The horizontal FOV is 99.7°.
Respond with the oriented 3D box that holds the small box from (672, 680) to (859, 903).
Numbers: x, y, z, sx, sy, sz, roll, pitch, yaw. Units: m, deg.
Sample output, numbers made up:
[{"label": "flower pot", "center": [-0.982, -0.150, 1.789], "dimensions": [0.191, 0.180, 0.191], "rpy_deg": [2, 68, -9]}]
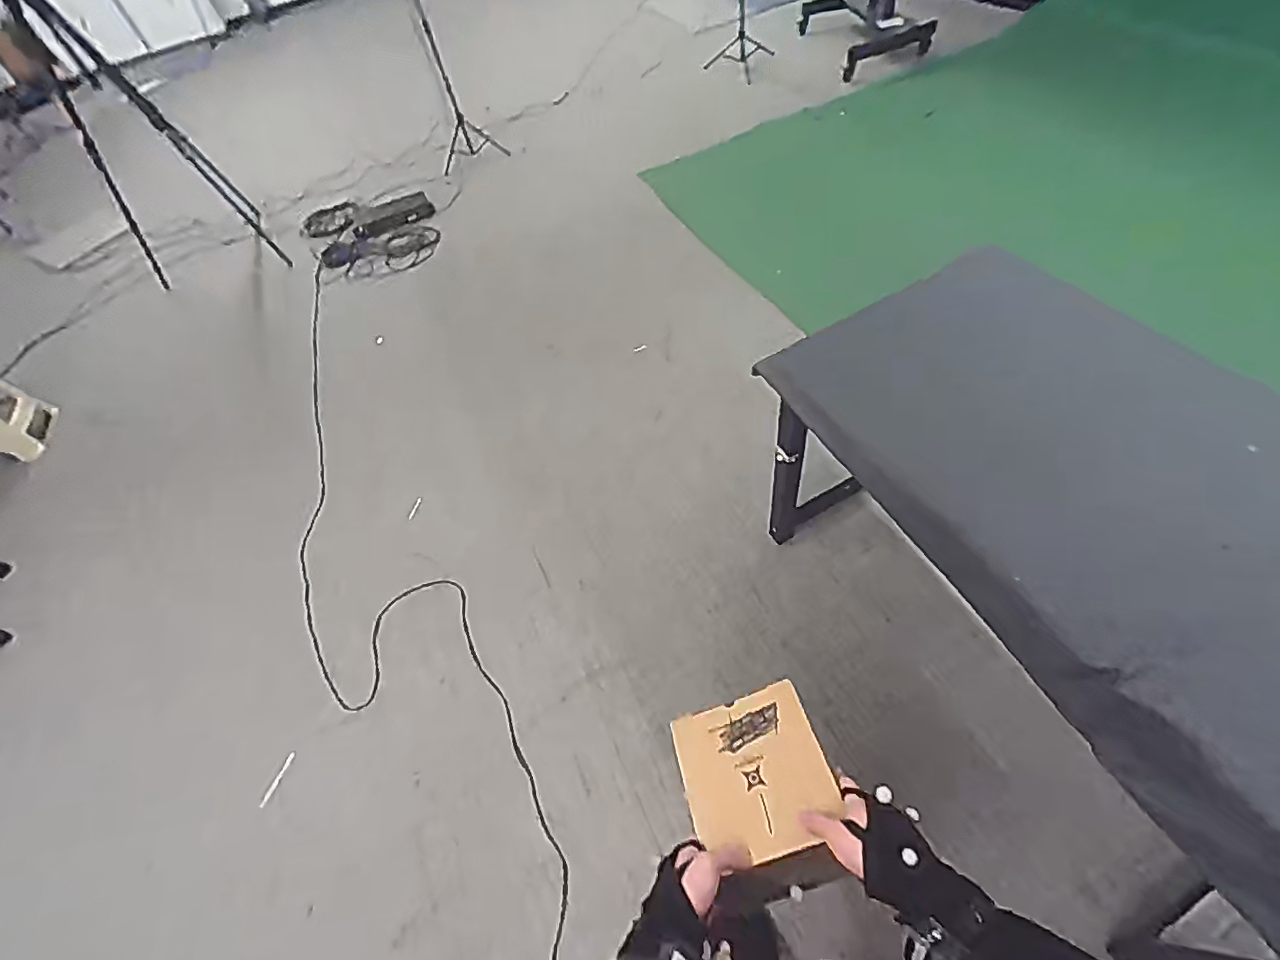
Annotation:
[{"label": "small box", "center": [0.155, 0.391, 0.679], "dimensions": [0.168, 0.176, 0.179], "rpy_deg": [-22, 41, 4]}]
